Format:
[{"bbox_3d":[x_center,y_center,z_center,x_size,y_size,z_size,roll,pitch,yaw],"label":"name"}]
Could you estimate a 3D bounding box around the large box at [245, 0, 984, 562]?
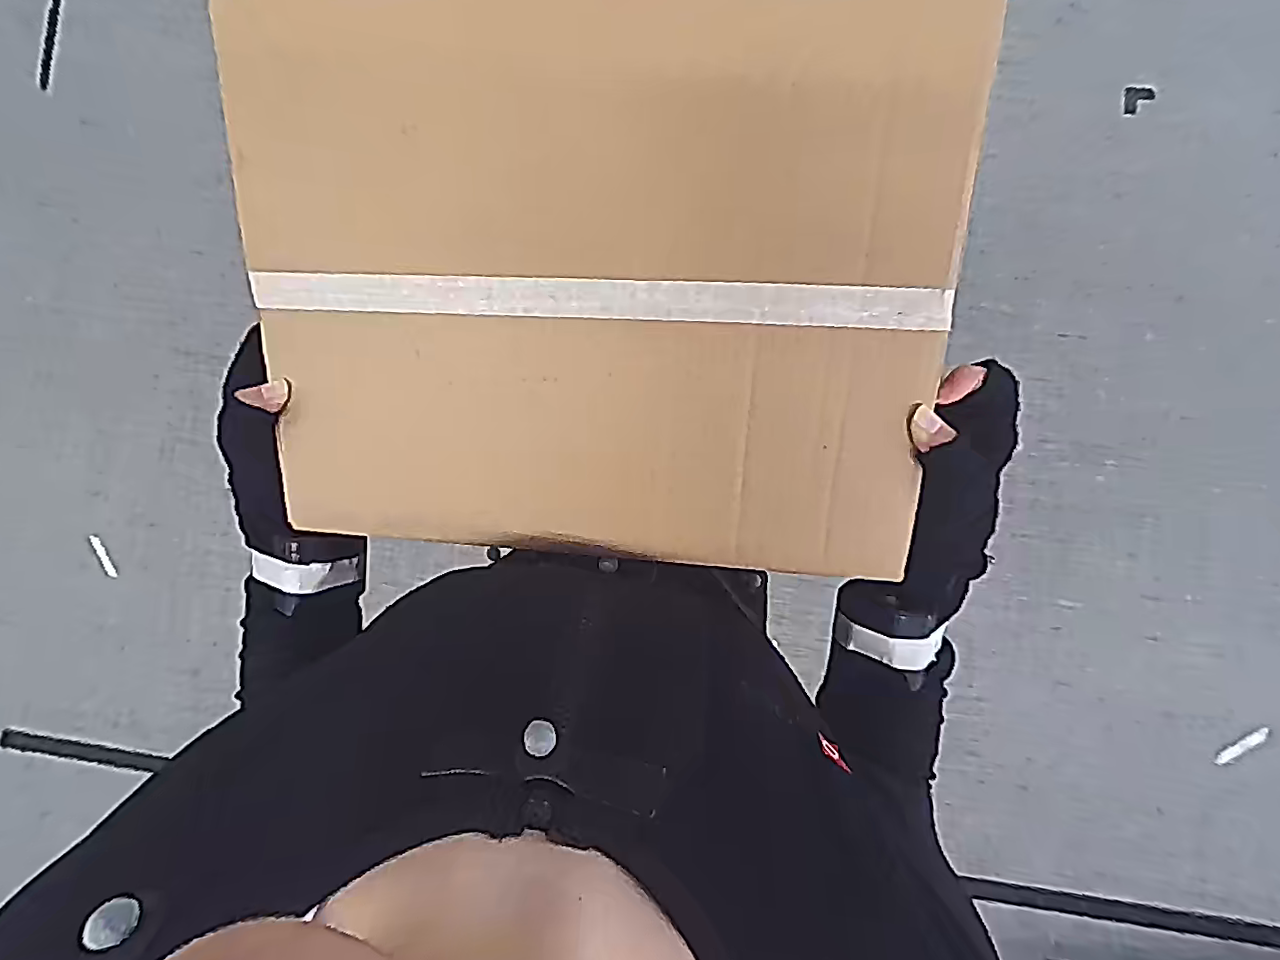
[{"bbox_3d":[-0.017,-0.143,0.463,0.408,0.320,0.320,4,106,6],"label":"large box"}]
